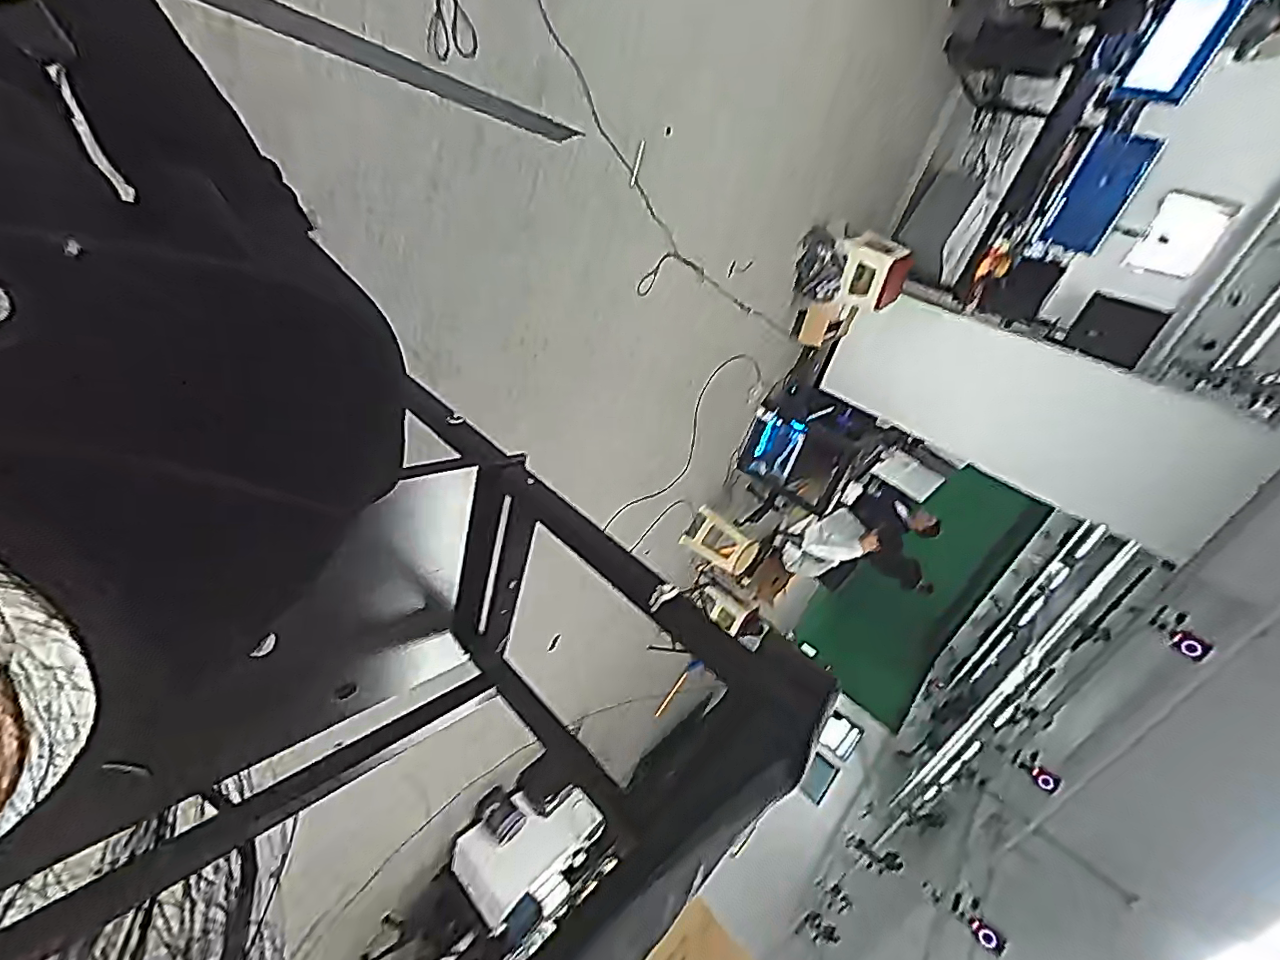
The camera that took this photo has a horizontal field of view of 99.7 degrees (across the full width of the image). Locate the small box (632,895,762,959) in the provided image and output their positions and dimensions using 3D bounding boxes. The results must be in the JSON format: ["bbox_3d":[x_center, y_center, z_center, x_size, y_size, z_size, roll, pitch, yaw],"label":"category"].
[{"bbox_3d":[0.044,0.575,0.543,0.168,0.176,0.179,-14,134,-50],"label":"small box"}]
